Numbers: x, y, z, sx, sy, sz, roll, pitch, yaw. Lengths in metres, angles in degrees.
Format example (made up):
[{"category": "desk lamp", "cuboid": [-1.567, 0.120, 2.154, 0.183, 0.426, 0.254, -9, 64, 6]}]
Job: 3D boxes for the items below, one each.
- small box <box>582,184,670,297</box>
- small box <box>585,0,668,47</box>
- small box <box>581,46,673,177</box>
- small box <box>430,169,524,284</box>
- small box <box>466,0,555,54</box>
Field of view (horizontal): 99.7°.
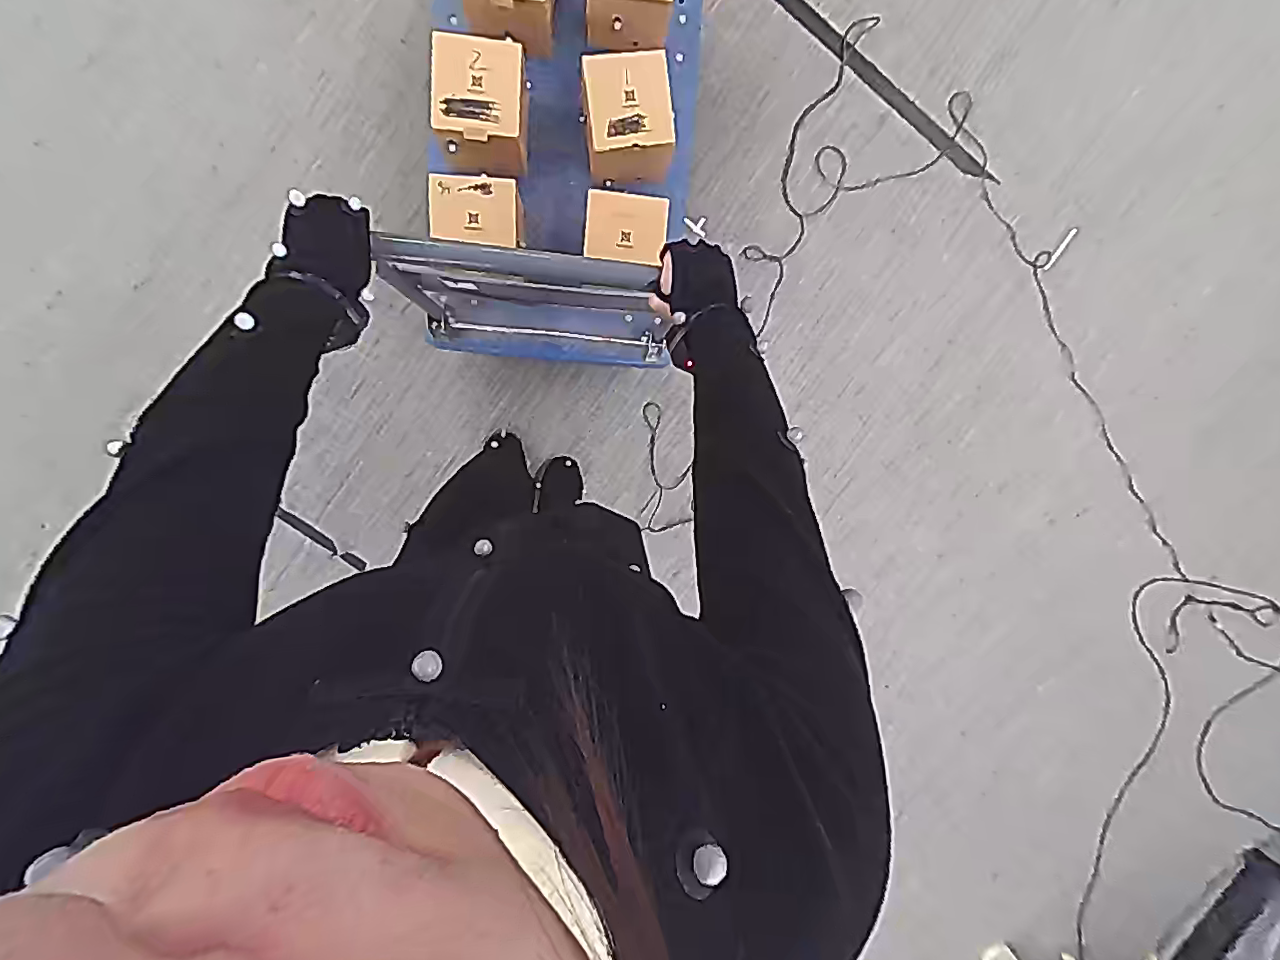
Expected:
[{"category": "small box", "cuboid": [-0.036, -0.504, 1.167, 0.168, 0.176, 0.179, 4, 96, -7]}, {"category": "small box", "cuboid": [-0.026, -1.031, 1.104, 0.168, 0.176, 0.179, 0, 96, -7]}, {"category": "small box", "cuboid": [-0.030, -0.760, 1.136, 0.168, 0.176, 0.179, -9, 97, -6]}, {"category": "small box", "cuboid": [-0.332, -0.517, 1.129, 0.168, 0.176, 0.179, 0, 97, -7]}, {"category": "small box", "cuboid": [-0.259, -1.008, 1.078, 0.168, 0.176, 0.179, 5, 97, -7]}]
